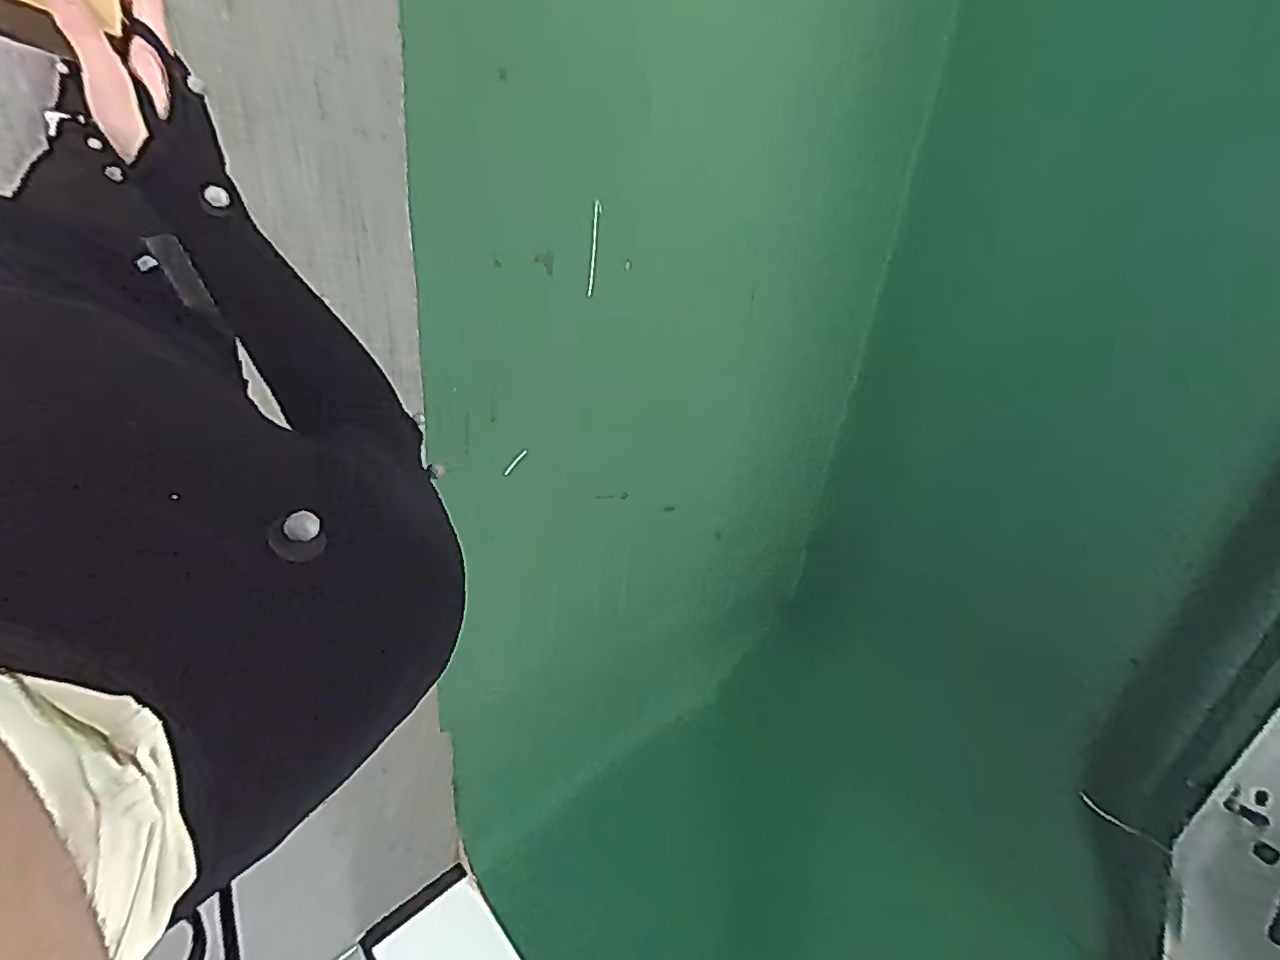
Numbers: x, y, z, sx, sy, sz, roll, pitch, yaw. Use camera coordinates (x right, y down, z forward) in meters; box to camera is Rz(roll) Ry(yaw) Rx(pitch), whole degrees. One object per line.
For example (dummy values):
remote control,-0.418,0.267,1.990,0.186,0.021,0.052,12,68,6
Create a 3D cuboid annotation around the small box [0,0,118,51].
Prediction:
small box,-0.465,-0.426,0.350,0.168,0.176,0.179,-6,114,-47
